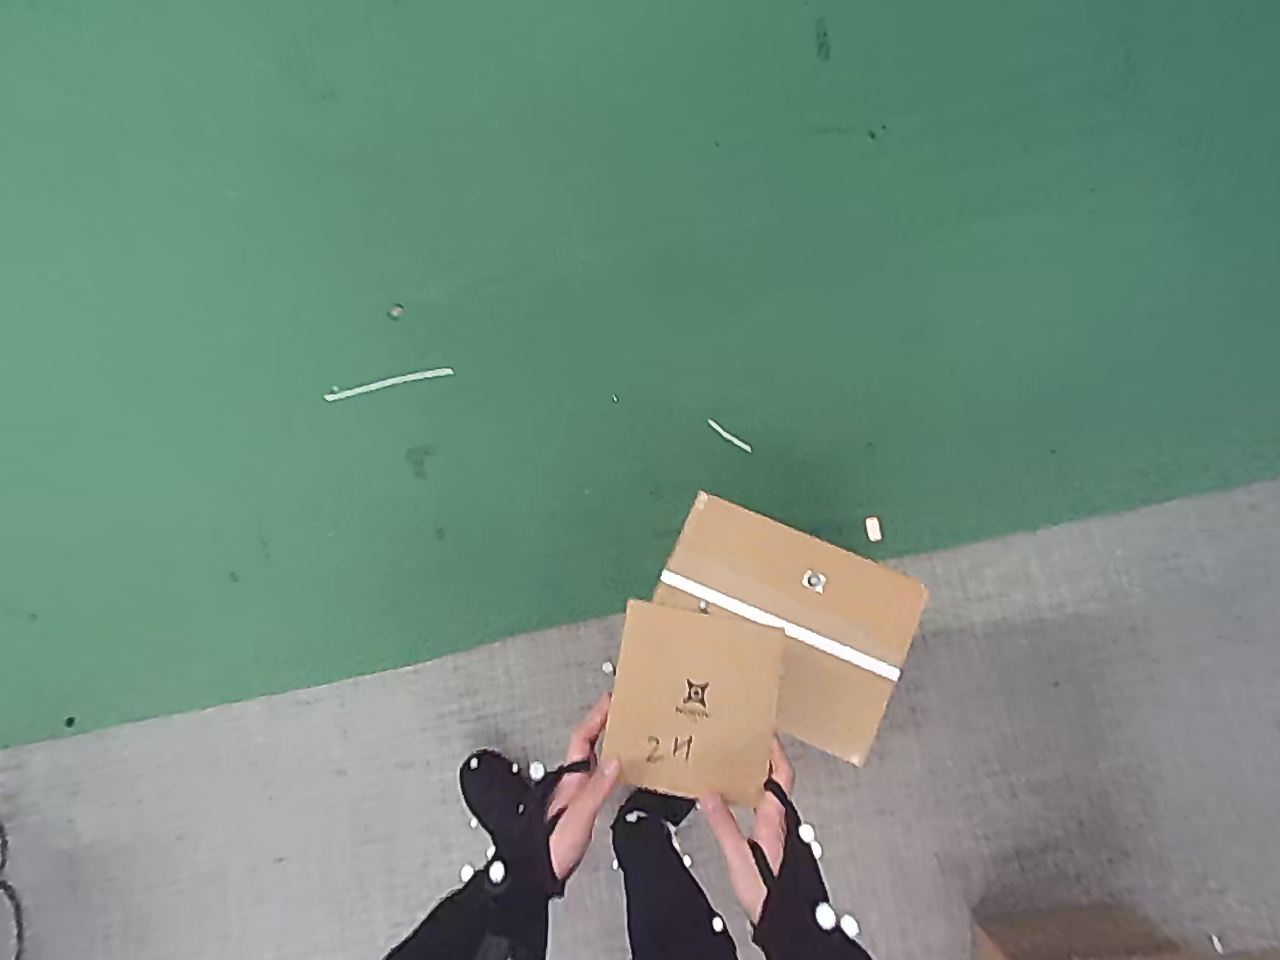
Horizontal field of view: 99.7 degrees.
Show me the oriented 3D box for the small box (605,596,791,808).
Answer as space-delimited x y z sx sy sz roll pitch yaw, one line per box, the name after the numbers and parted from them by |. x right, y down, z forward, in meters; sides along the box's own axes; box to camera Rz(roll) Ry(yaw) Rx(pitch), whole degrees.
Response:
0.058 0.231 0.609 0.168 0.176 0.179 10 79 1 | small box
